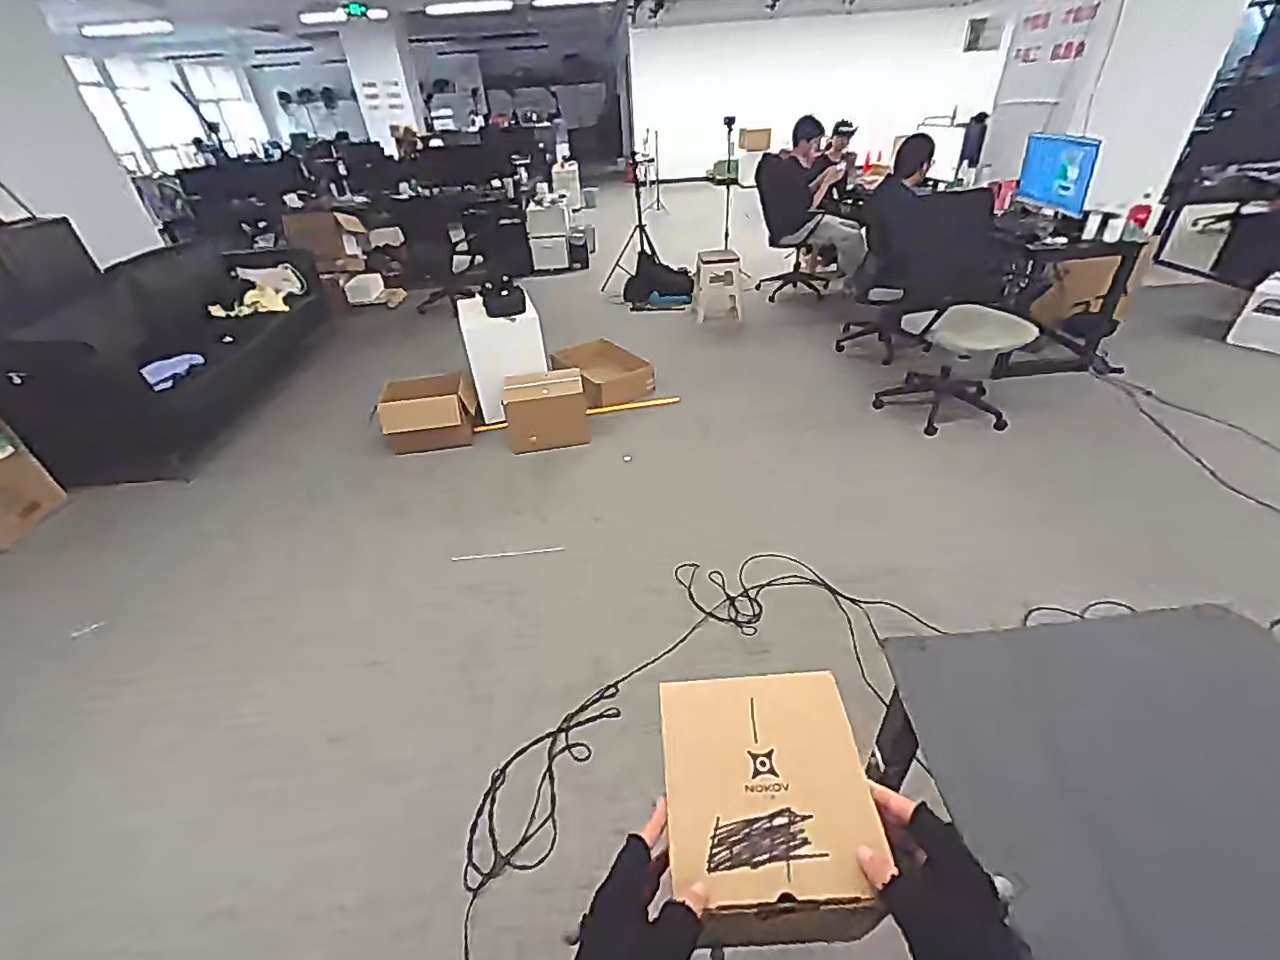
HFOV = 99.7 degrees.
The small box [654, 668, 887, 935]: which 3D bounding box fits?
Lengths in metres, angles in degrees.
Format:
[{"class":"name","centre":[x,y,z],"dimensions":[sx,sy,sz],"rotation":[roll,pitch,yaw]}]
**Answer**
[{"class":"small box","centre":[0.103,0.301,0.504],"dimensions":[0.168,0.176,0.179],"rotation":[-5,42,2]}]
